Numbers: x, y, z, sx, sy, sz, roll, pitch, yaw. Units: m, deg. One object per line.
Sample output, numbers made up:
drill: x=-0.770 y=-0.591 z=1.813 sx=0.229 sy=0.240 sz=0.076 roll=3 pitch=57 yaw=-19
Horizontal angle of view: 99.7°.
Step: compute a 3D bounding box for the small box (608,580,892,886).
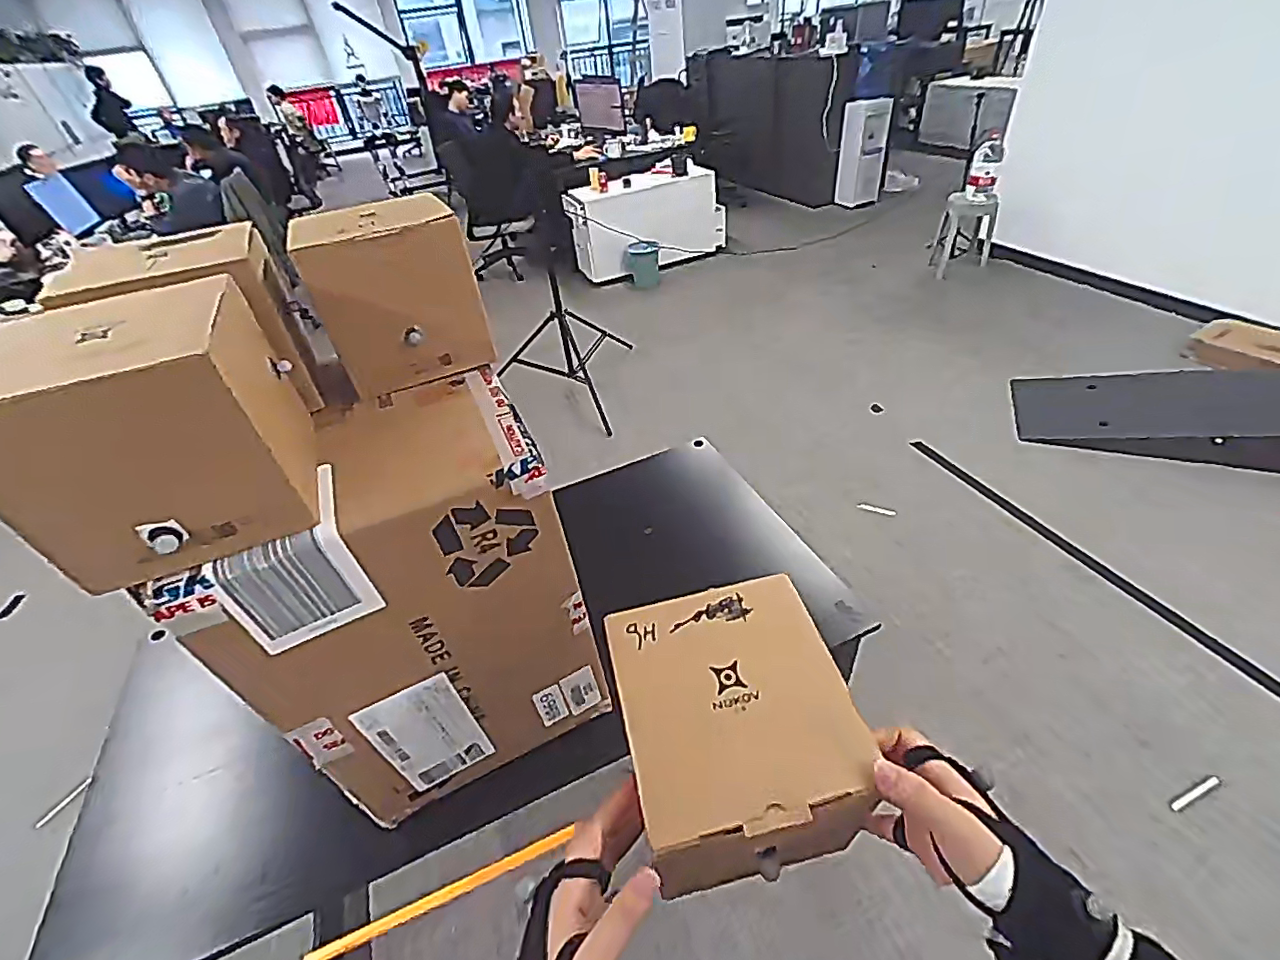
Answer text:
small box: x=0.076 y=0.218 z=0.459 sx=0.168 sy=0.176 sz=0.179 roll=-12 pitch=45 yaw=-6
